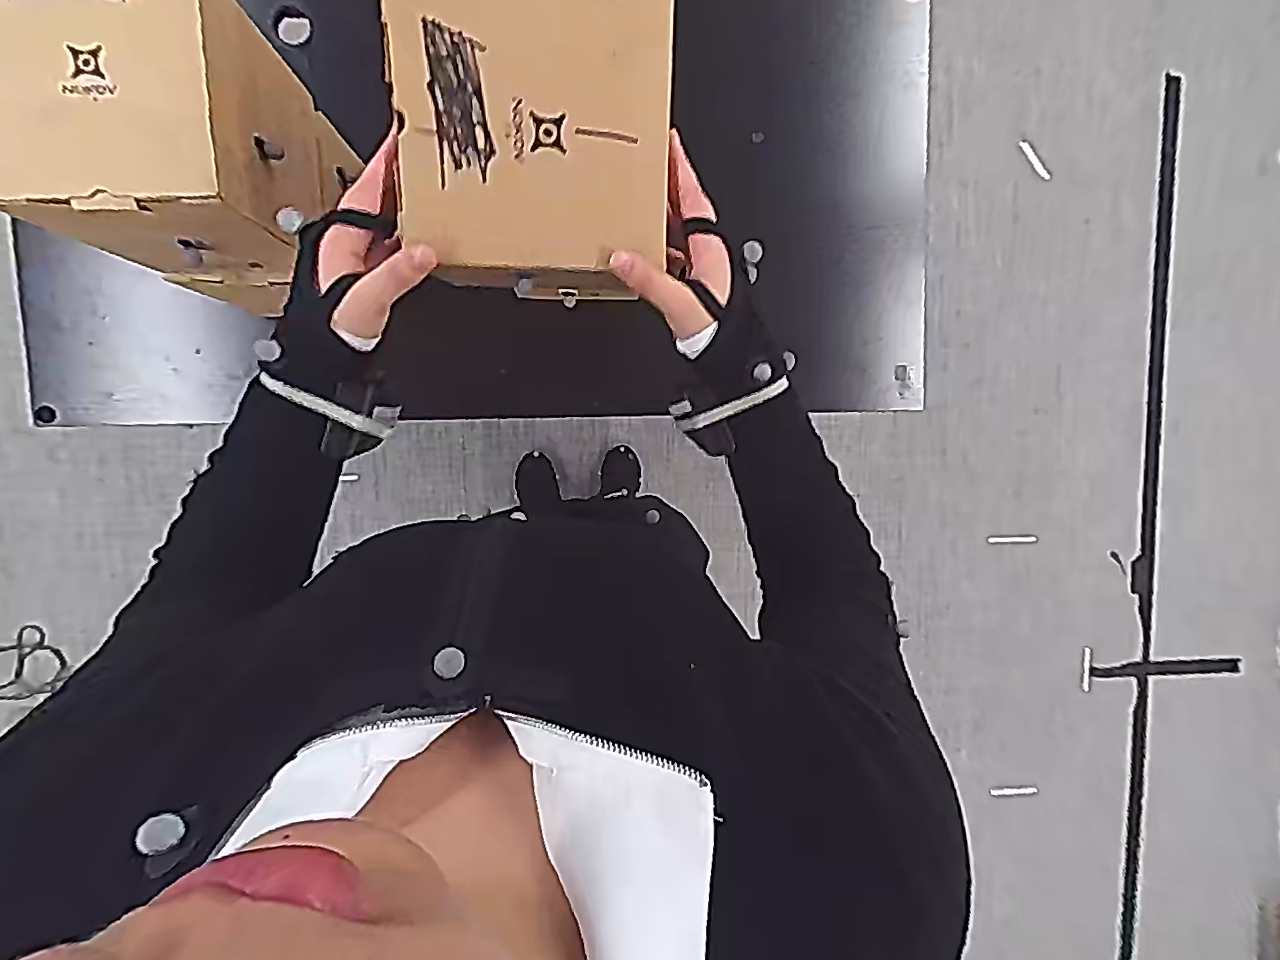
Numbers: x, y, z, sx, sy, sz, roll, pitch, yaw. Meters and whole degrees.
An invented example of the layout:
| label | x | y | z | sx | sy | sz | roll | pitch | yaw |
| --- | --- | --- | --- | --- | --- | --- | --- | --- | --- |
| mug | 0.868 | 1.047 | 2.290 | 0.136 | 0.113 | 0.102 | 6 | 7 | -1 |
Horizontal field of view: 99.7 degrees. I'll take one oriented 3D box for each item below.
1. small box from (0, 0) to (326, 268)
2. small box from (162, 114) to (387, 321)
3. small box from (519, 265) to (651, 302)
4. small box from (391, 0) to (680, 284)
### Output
| label | x | y | z | sx | sy | sz | roll | pitch | yaw |
| --- | --- | --- | --- | --- | --- | --- | --- | --- | --- |
| small box | -0.398 | -0.292 | 0.468 | 0.168 | 0.176 | 0.179 | -3 | 95 | -5 |
| small box | -0.410 | -0.295 | 0.632 | 0.168 | 0.176 | 0.179 | 0 | 95 | -5 |
| small box | -0.076 | -0.328 | 0.662 | 0.168 | 0.176 | 0.179 | -2 | 95 | -4 |
| small box | -0.073 | -0.248 | 0.421 | 0.179 | 0.176 | 0.168 | -1 | 105 | -8 |
